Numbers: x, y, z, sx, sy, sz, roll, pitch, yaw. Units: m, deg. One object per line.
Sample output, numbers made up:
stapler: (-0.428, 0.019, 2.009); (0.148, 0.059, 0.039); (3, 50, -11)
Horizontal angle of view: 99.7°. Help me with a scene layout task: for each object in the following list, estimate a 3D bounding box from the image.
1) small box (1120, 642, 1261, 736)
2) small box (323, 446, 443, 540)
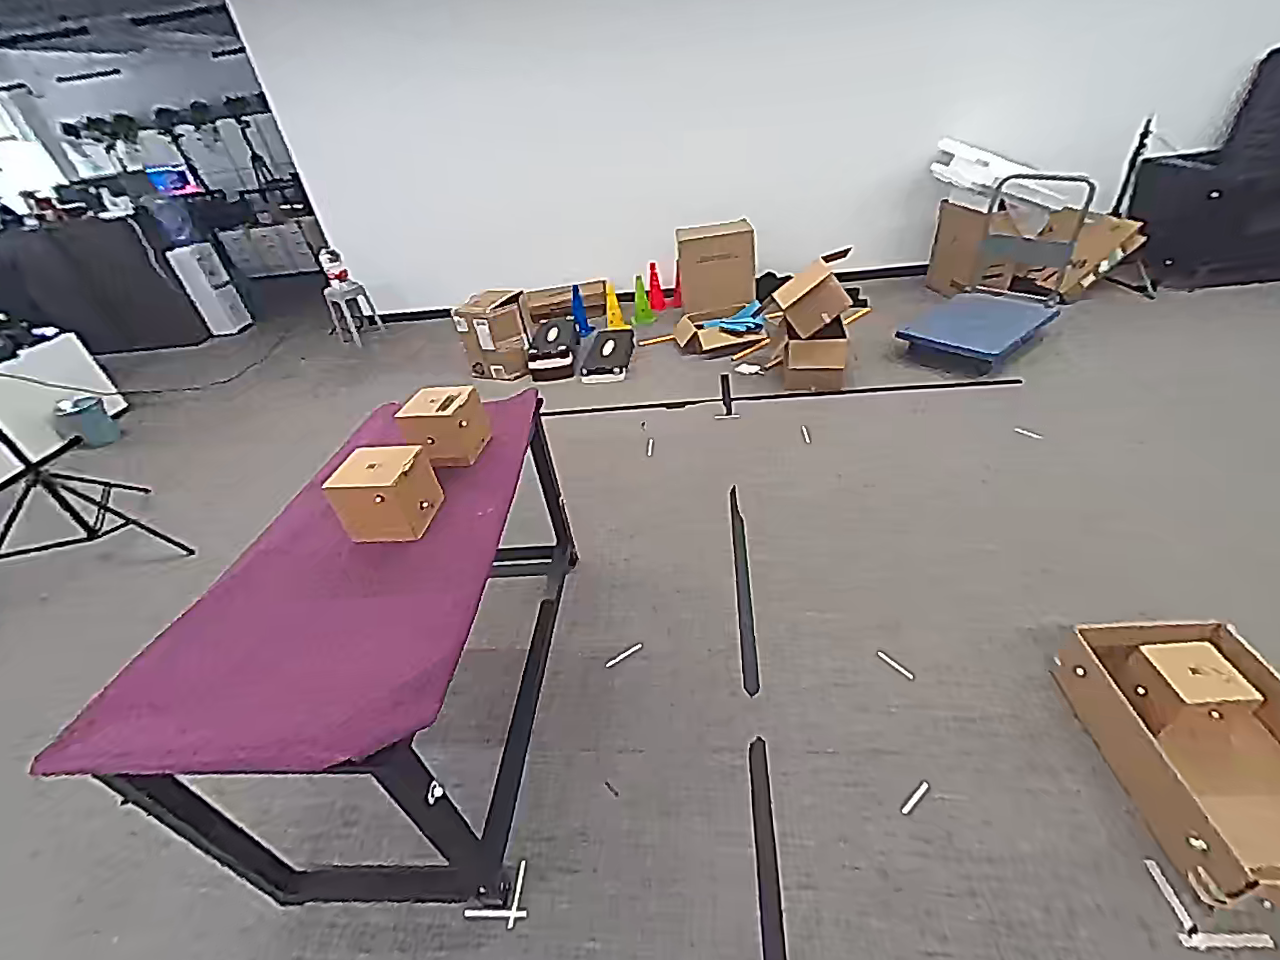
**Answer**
small box: (1.398, 0.541, 1.396); (0.179, 0.176, 0.168); (-5, 37, 5)
small box: (-0.610, 0.033, 1.308); (0.179, 0.176, 0.168); (-2, 37, 8)
